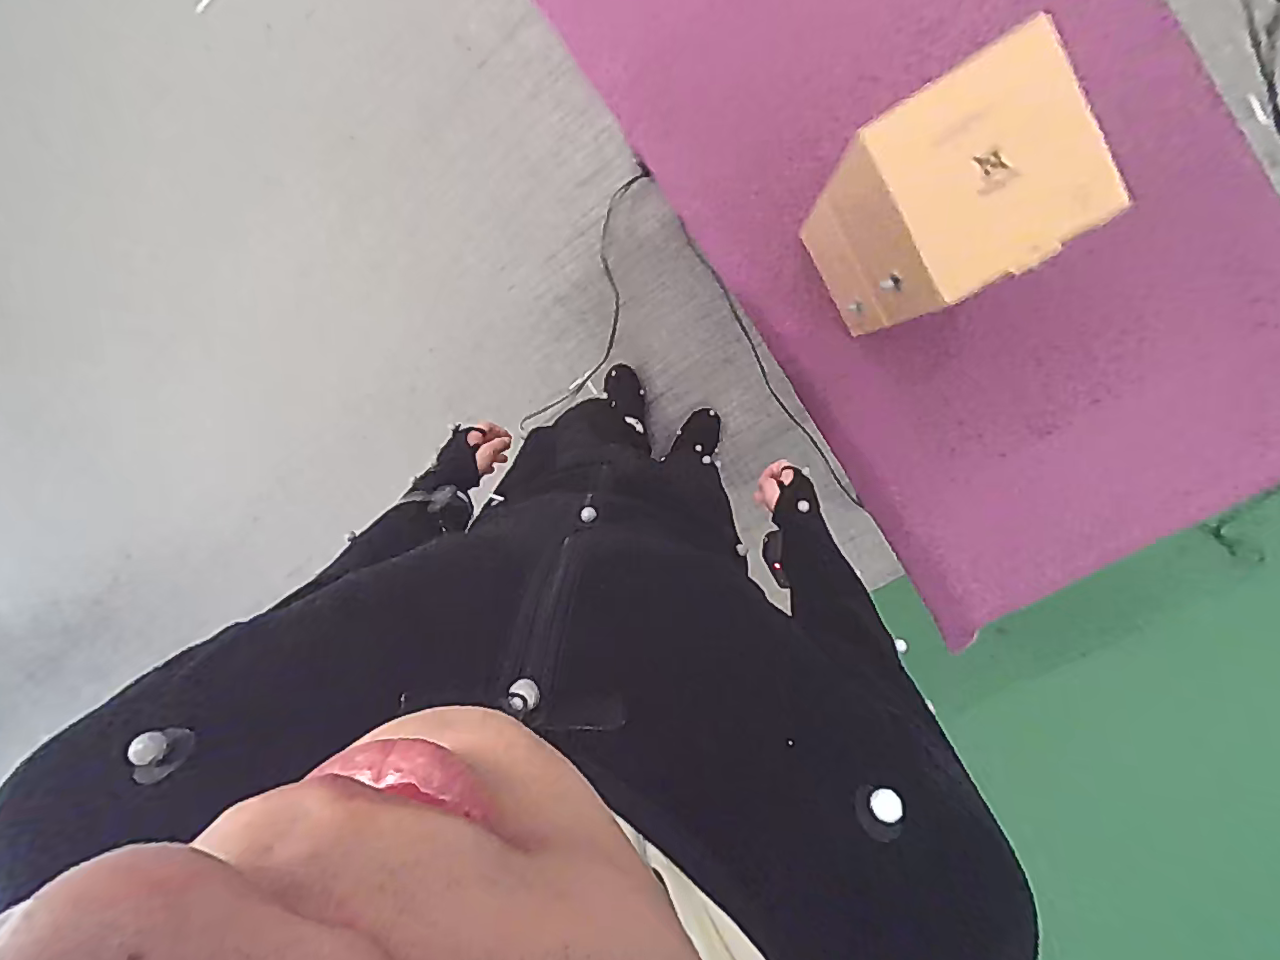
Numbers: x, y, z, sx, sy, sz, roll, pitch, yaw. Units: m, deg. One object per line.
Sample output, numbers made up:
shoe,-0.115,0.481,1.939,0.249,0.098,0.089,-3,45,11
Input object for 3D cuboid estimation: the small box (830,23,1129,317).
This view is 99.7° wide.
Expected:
small box,0.316,-0.280,0.544,0.168,0.176,0.179,-28,95,12
